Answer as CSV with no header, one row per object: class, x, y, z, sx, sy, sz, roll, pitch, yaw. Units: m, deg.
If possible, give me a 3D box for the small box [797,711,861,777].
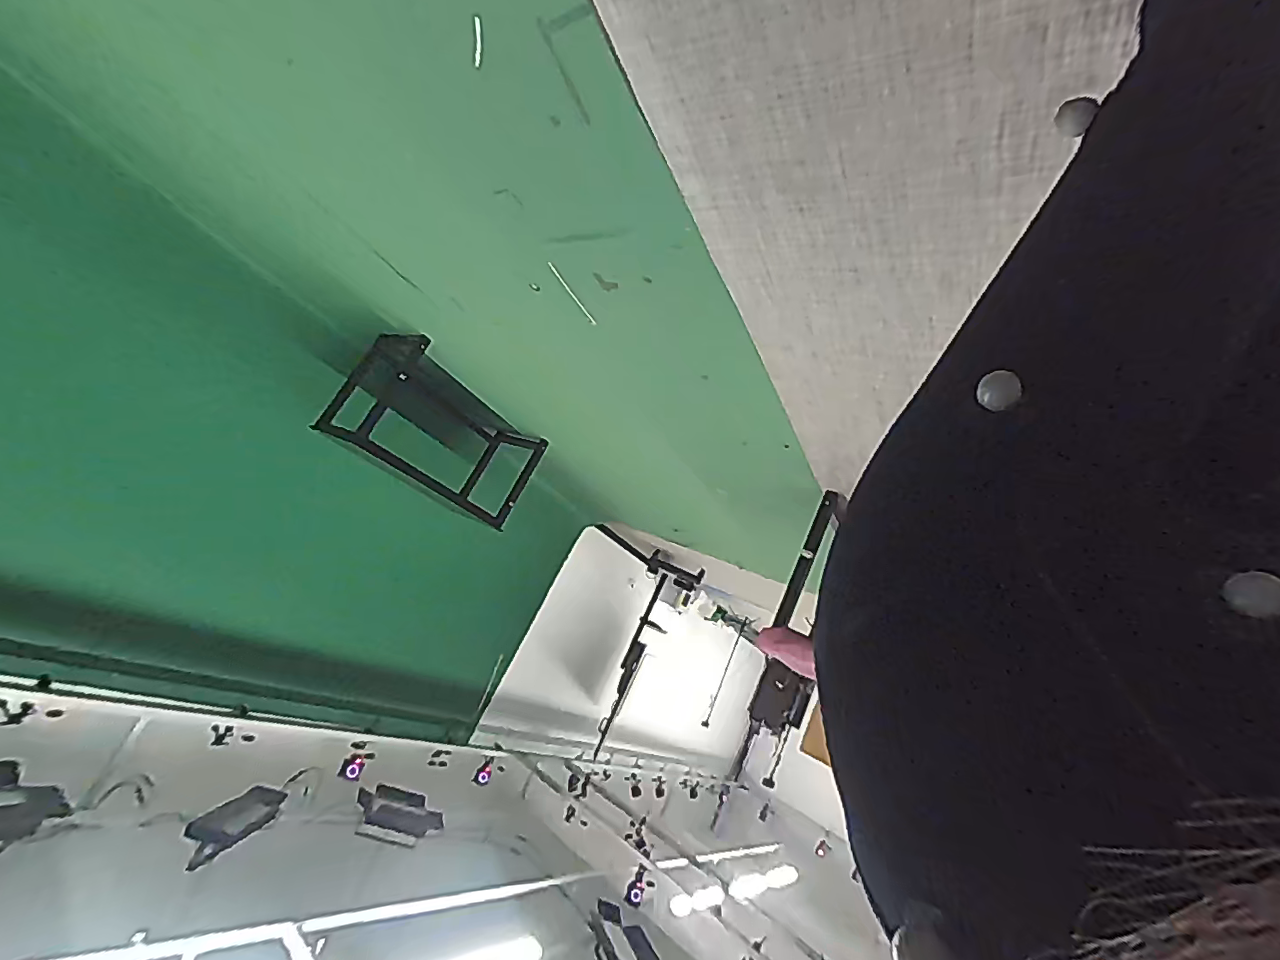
small box,0.728,1.006,2.068,0.168,0.176,0.179,15,161,37
